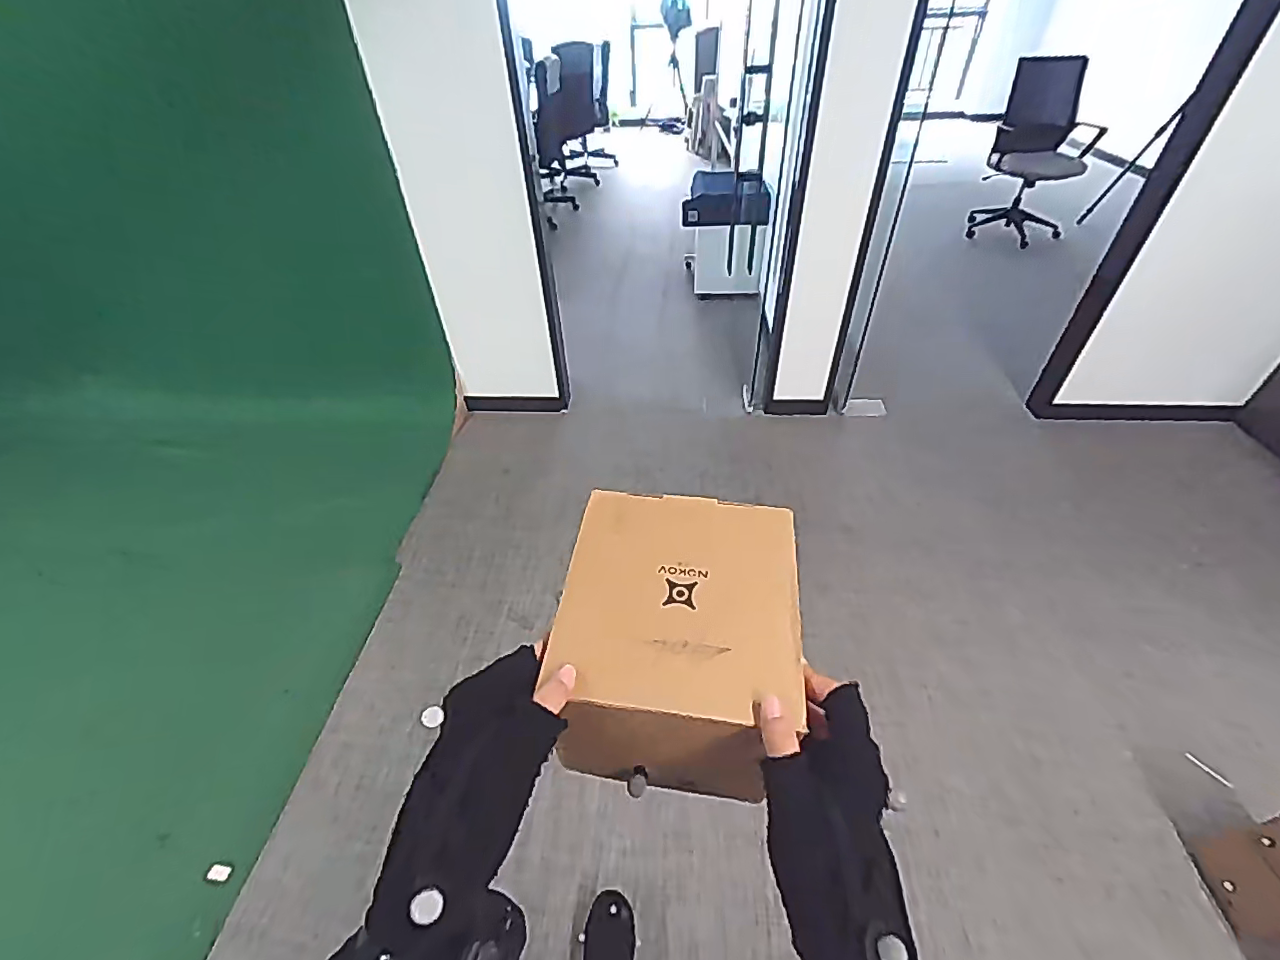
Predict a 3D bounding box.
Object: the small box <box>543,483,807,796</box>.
[{"bbox_3d":[0.031,0.129,0.440,0.168,0.176,0.179,6,48,6],"label":"small box"}]
